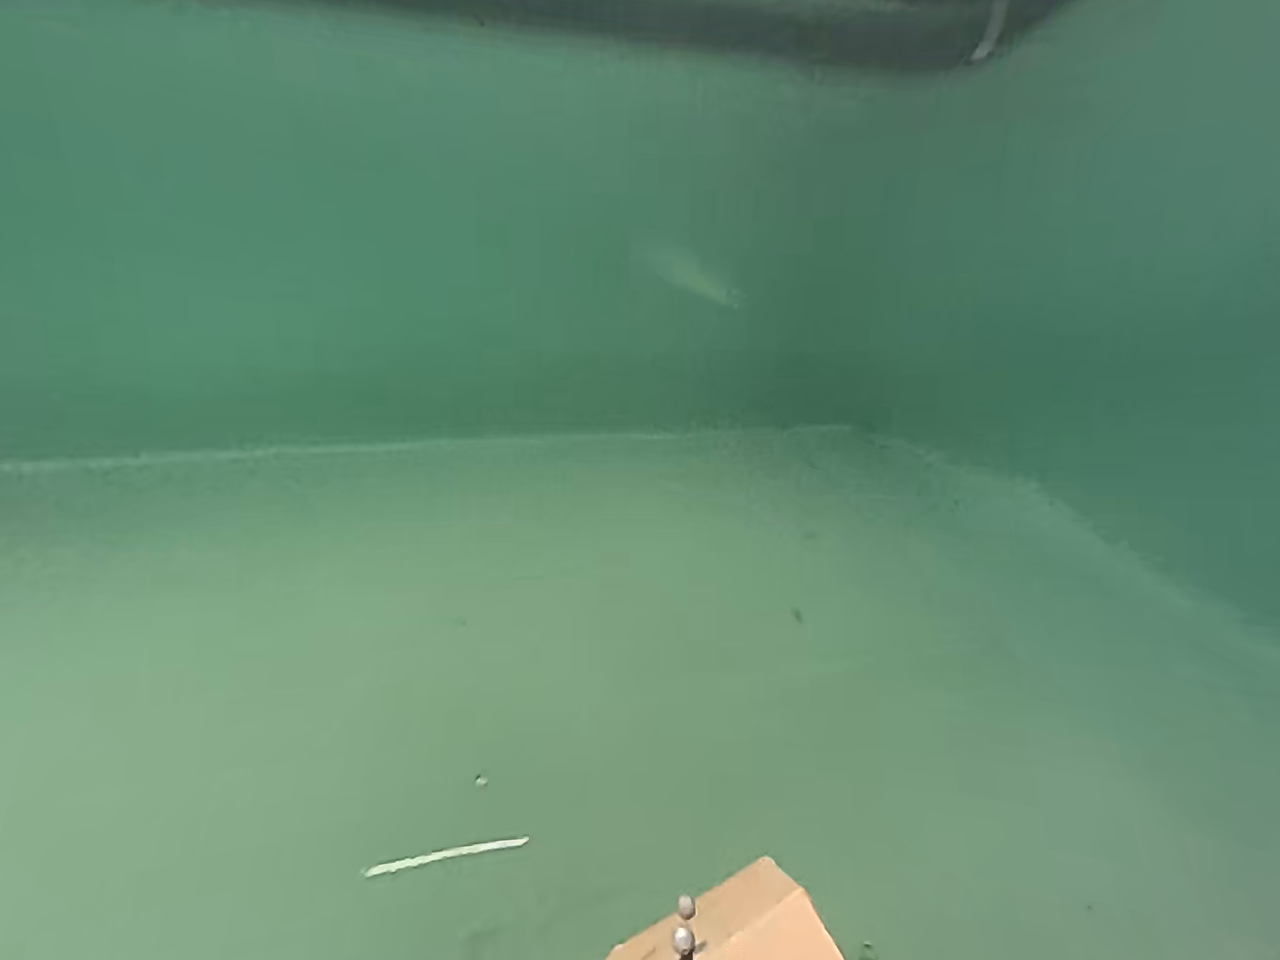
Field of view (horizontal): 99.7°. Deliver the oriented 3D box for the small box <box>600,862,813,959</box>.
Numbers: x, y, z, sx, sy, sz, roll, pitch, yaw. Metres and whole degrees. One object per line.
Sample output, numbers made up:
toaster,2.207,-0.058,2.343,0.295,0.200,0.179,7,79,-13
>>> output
small box,0.062,0.424,0.409,0.179,0.176,0.168,-27,59,-9
